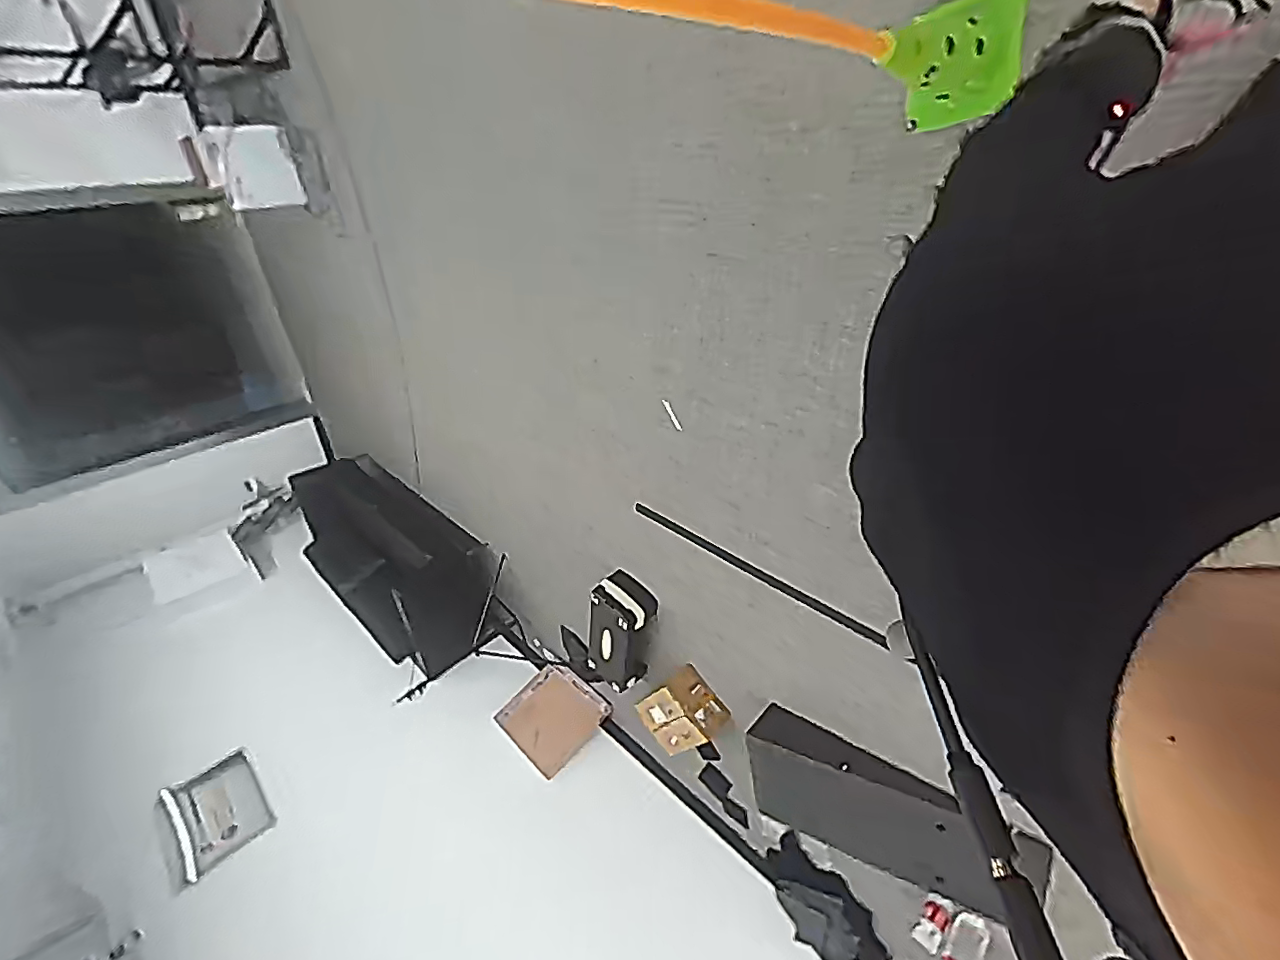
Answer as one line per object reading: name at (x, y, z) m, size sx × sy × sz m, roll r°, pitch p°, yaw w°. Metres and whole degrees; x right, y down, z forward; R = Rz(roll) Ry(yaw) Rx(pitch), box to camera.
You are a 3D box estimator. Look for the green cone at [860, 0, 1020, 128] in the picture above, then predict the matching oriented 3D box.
green cone at (0.481, -0.740, 0.922) m, size 0.200 × 0.368 × 0.202 m, roll 12°, pitch 121°, yaw 45°
